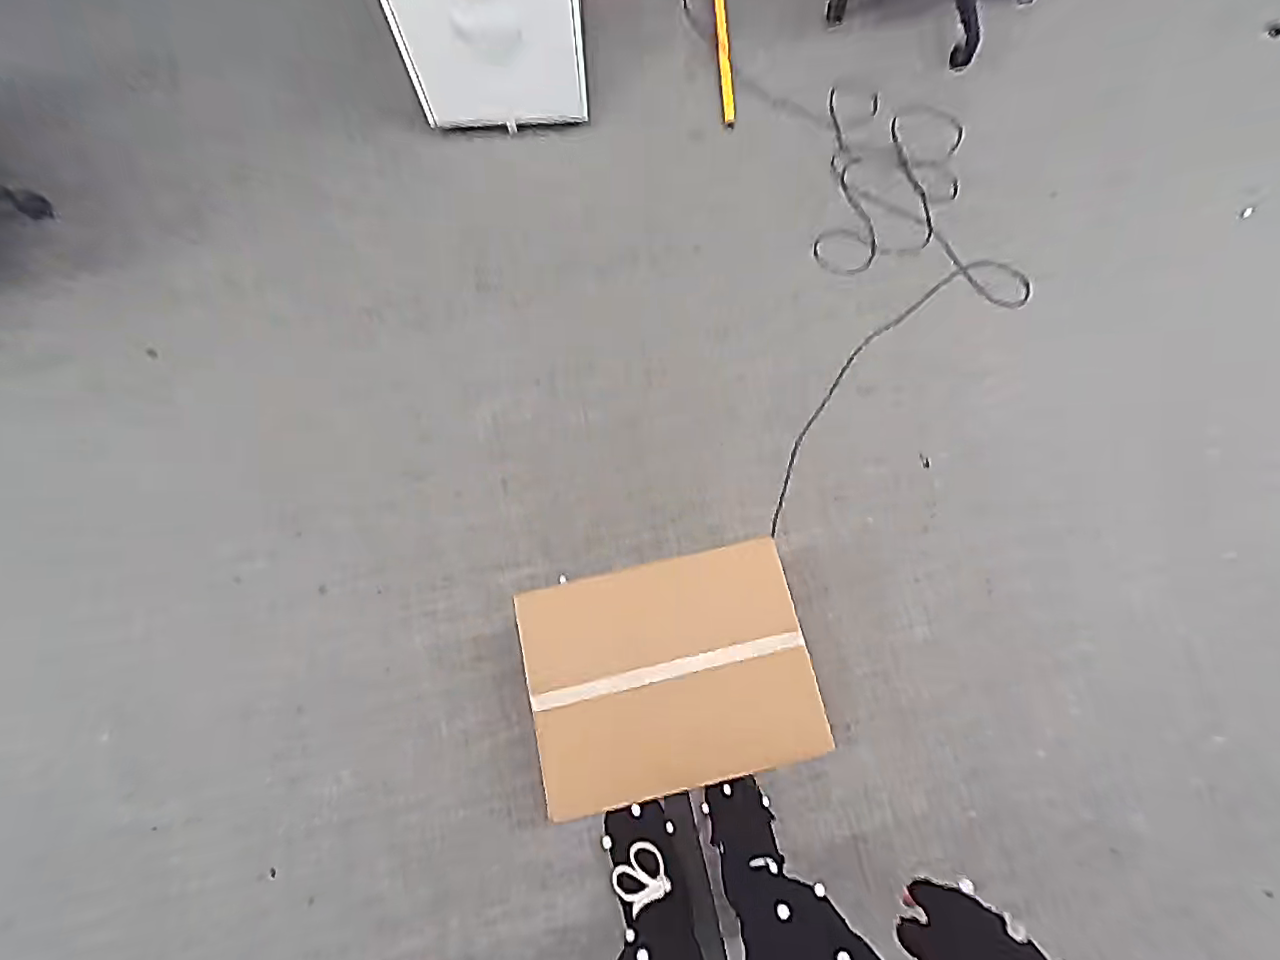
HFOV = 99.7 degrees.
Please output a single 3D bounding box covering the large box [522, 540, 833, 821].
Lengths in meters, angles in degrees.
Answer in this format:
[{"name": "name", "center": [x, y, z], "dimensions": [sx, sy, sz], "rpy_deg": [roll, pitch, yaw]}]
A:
[{"name": "large box", "center": [0.047, 0.321, 0.930], "dimensions": [0.408, 0.320, 0.320], "rpy_deg": [-13, 75, -3]}]
